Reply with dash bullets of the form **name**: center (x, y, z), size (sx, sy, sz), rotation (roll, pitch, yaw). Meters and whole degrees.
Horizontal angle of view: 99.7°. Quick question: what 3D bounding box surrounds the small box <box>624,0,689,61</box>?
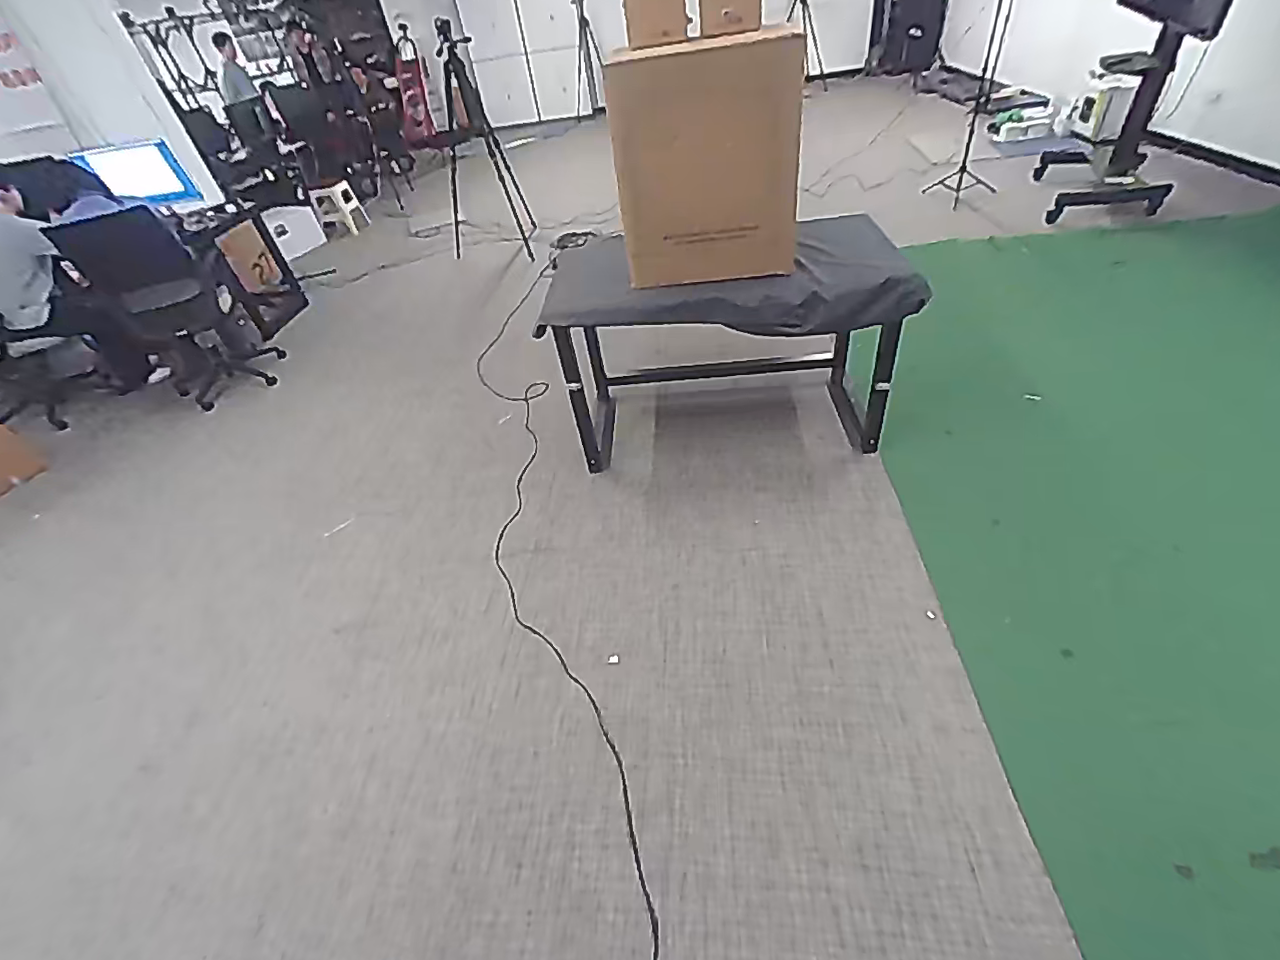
- **small box**: center (0.048, -1.302, 1.528), size (0.168, 0.176, 0.179), rotation (-4, 40, 9)
